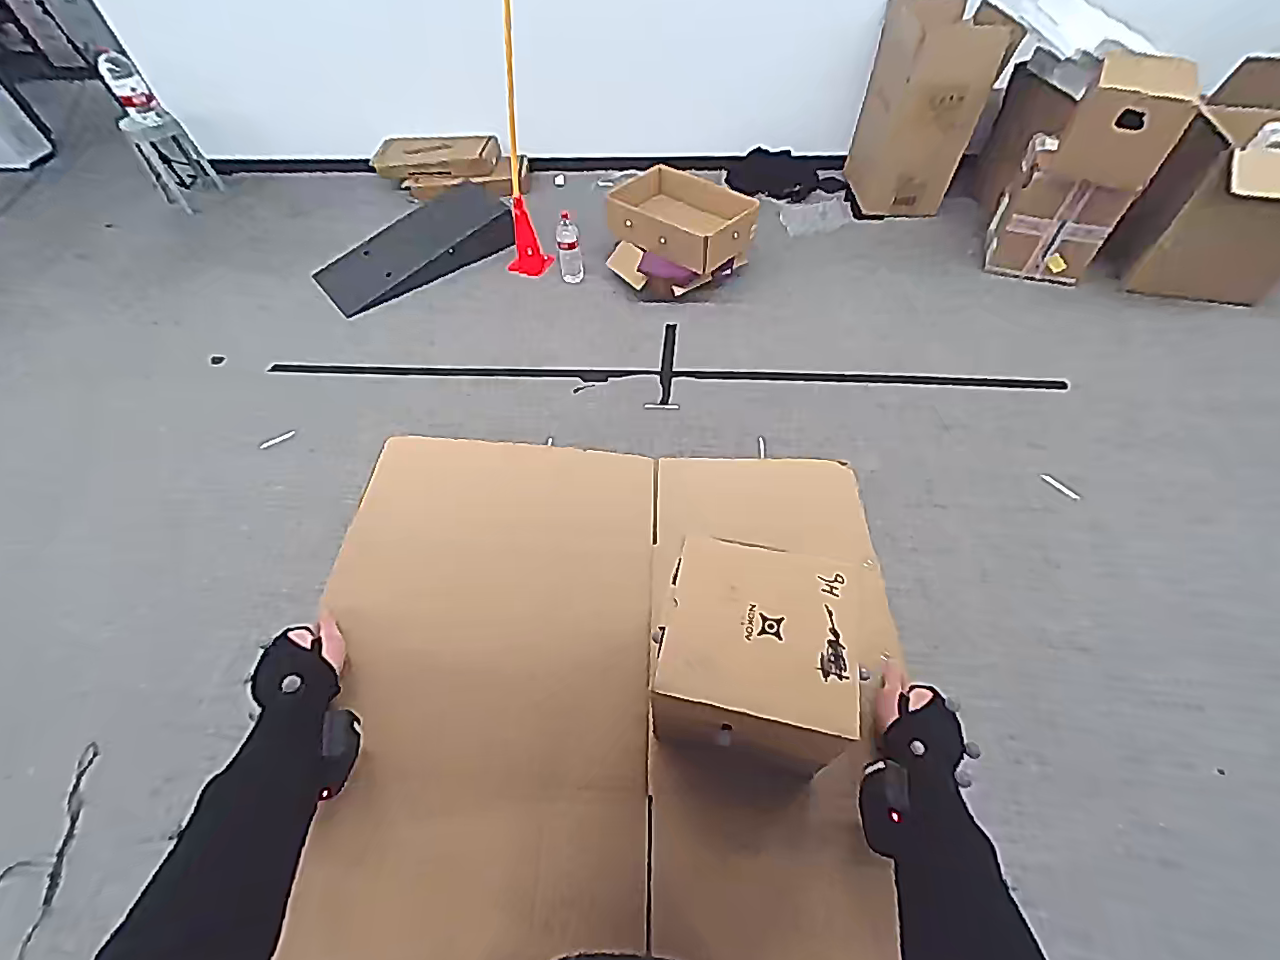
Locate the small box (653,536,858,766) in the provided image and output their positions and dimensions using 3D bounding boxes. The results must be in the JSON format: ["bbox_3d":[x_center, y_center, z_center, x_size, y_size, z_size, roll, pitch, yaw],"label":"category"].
[{"bbox_3d":[0.118,0.183,0.570,0.179,0.176,0.168,9,54,11],"label":"small box"}]
